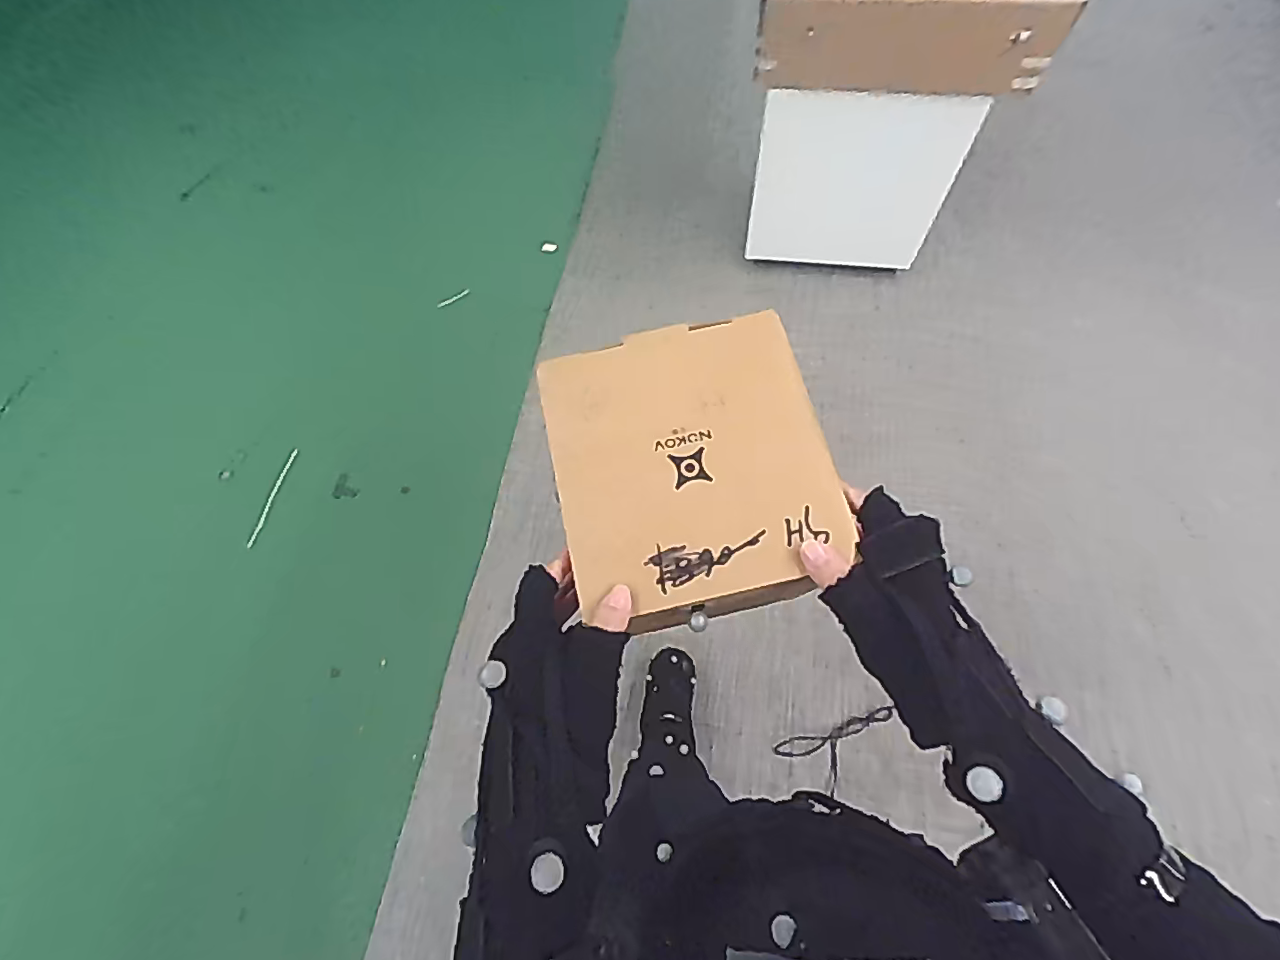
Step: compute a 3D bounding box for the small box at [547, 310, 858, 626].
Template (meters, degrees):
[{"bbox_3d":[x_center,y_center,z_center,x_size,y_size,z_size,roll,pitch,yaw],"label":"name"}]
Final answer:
[{"bbox_3d":[0.036,0.005,0.414,0.168,0.176,0.179,-12,71,1],"label":"small box"}]
